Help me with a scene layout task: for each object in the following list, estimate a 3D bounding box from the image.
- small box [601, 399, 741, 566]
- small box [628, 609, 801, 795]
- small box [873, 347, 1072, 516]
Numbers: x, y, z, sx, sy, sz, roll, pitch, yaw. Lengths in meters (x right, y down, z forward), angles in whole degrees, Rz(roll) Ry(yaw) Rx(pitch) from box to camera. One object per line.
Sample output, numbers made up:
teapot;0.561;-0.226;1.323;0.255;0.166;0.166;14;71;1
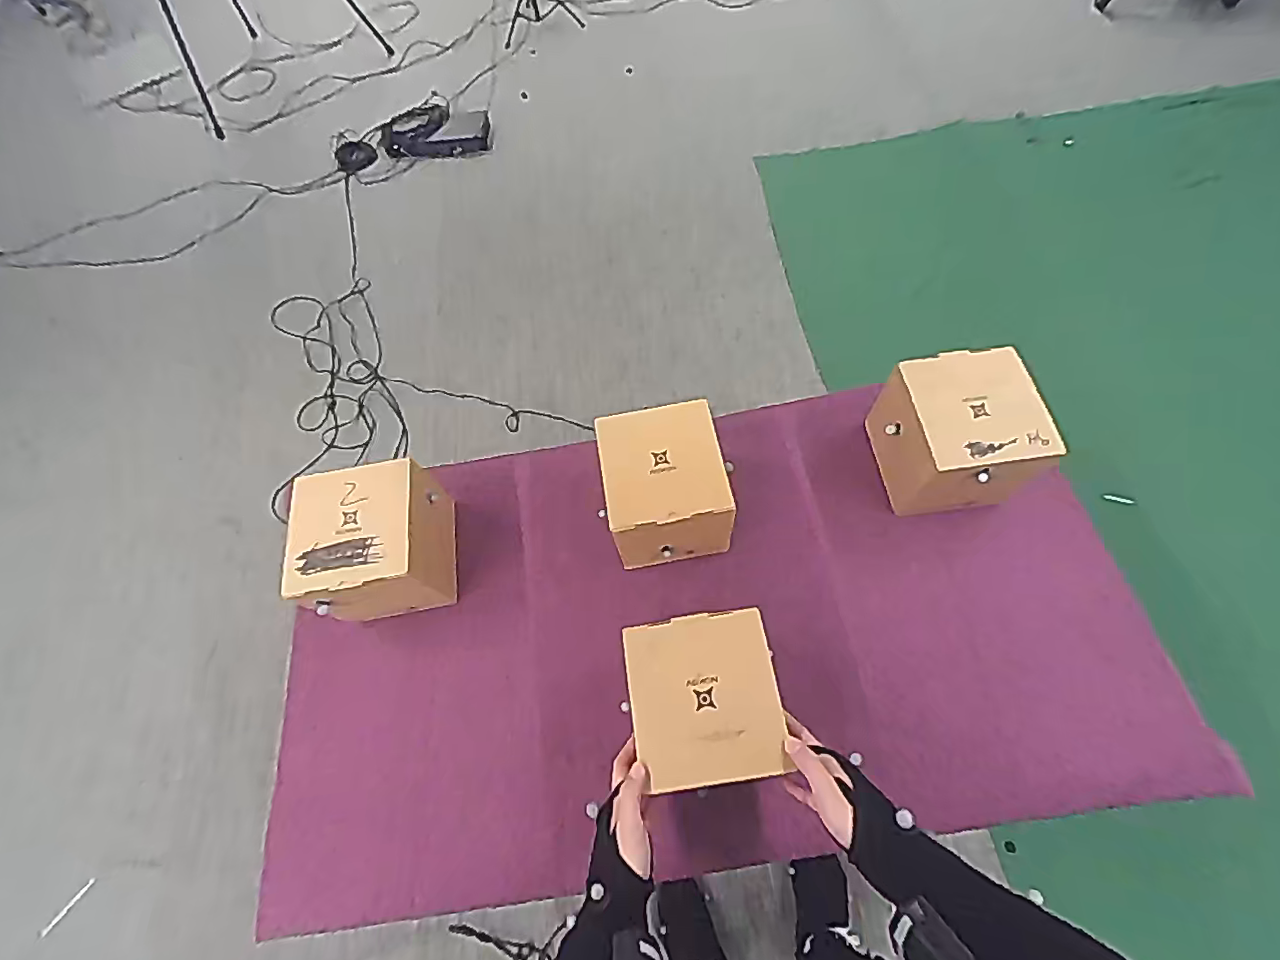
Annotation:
small box;0.040;0.009;0.795;0.168;0.176;0.179;-10;64;-1
small box;0.080;0.272;0.660;0.168;0.176;0.179;-9;63;1
small box;0.463;-0.065;0.792;0.168;0.176;0.179;-8;64;3
